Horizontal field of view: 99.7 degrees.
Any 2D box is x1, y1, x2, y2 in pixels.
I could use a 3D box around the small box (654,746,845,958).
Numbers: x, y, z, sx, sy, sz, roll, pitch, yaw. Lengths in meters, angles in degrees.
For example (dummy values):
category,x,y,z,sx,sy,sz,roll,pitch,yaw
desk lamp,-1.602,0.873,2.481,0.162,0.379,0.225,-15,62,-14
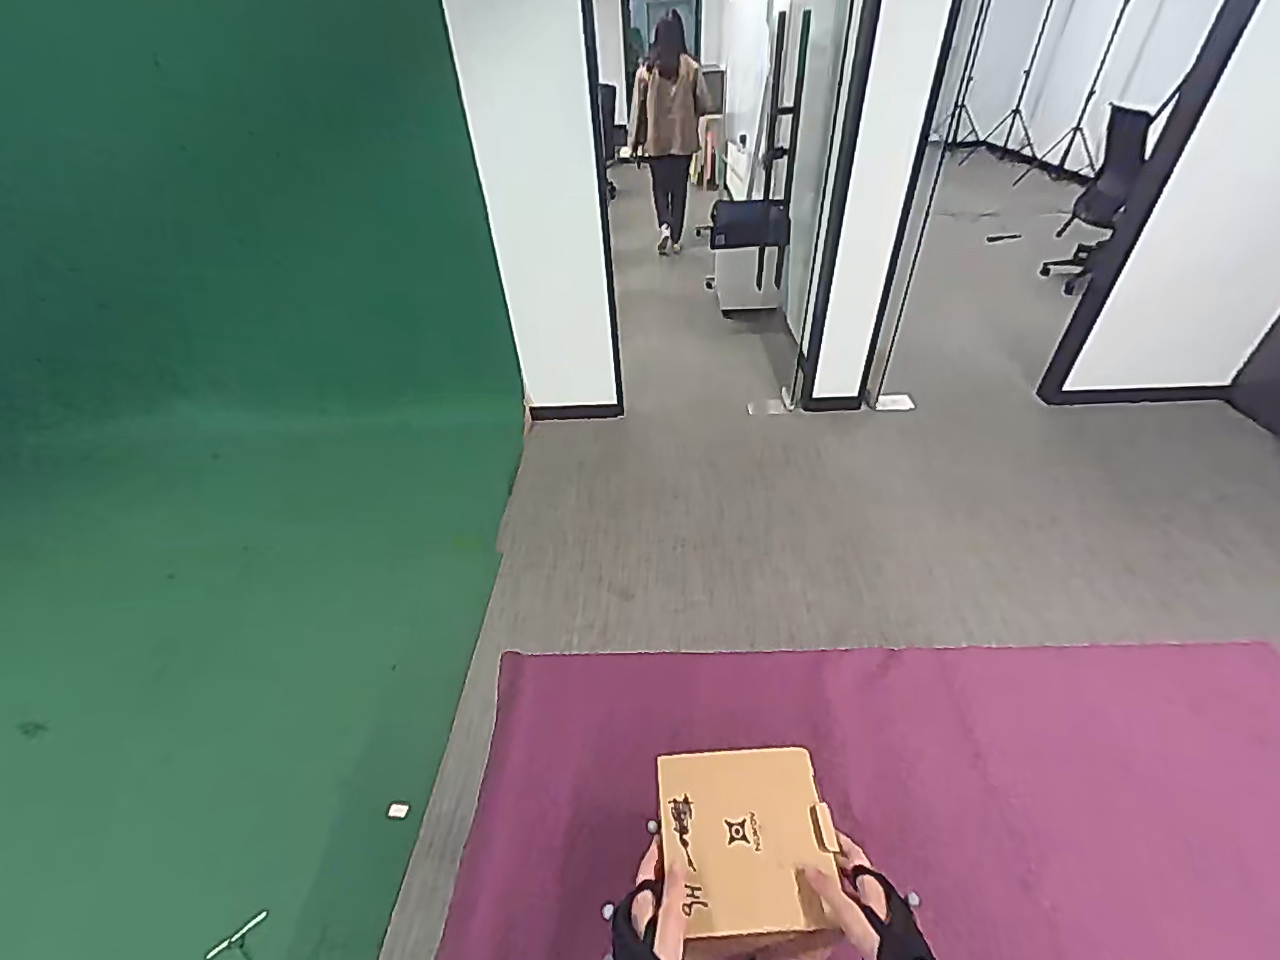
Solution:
category,x,y,z,sx,sy,sz,roll,pitch,yaw
small box,0.107,0.424,0.618,0.179,0.176,0.168,-2,41,0
